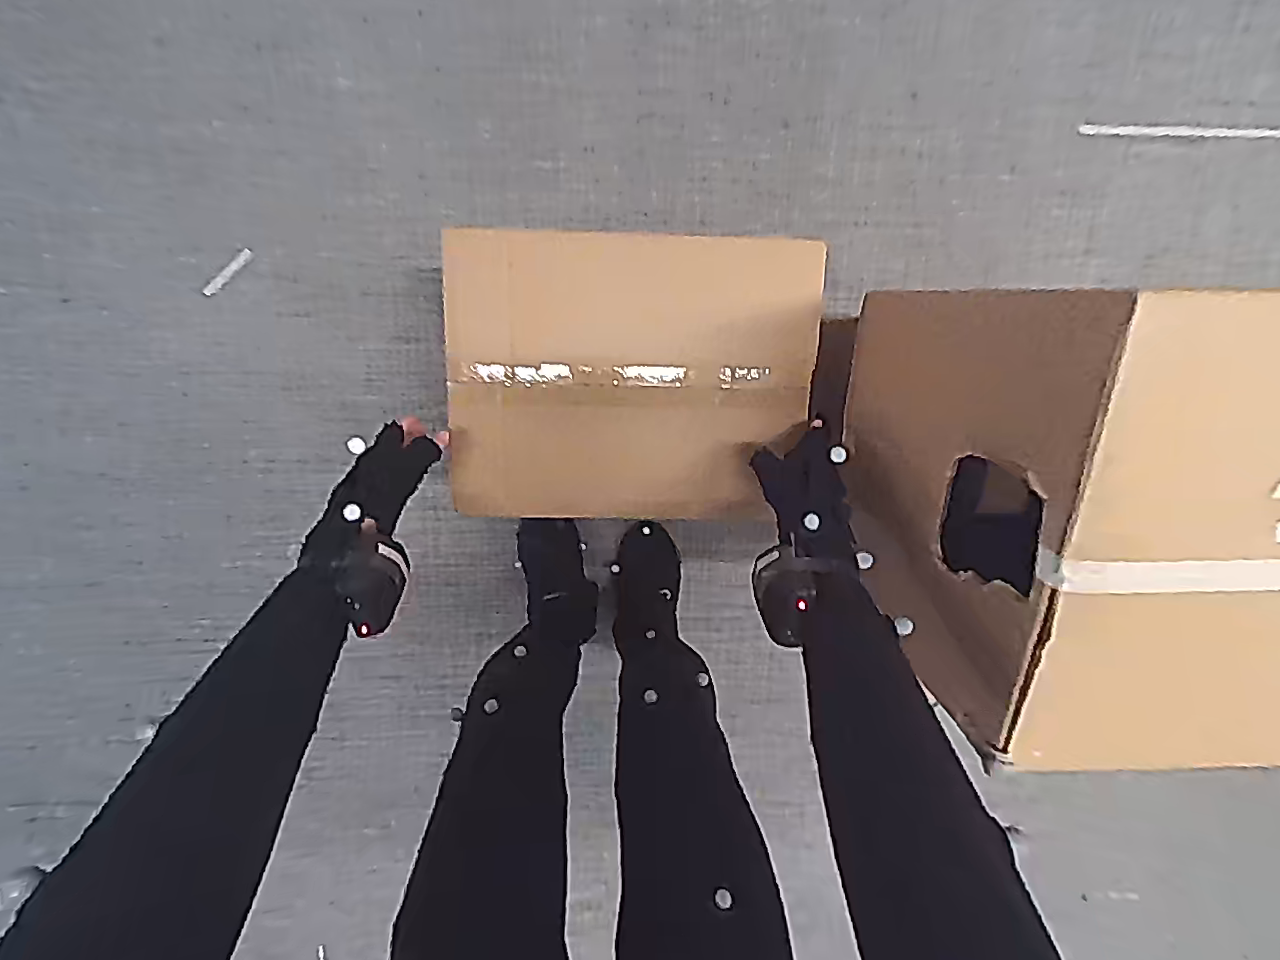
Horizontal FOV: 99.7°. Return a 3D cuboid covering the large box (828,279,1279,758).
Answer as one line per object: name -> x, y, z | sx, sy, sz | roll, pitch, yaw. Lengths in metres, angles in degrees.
large box -> 0.426, -0.004, 0.465 | 0.408, 0.320, 0.320 | 0, 108, -1
